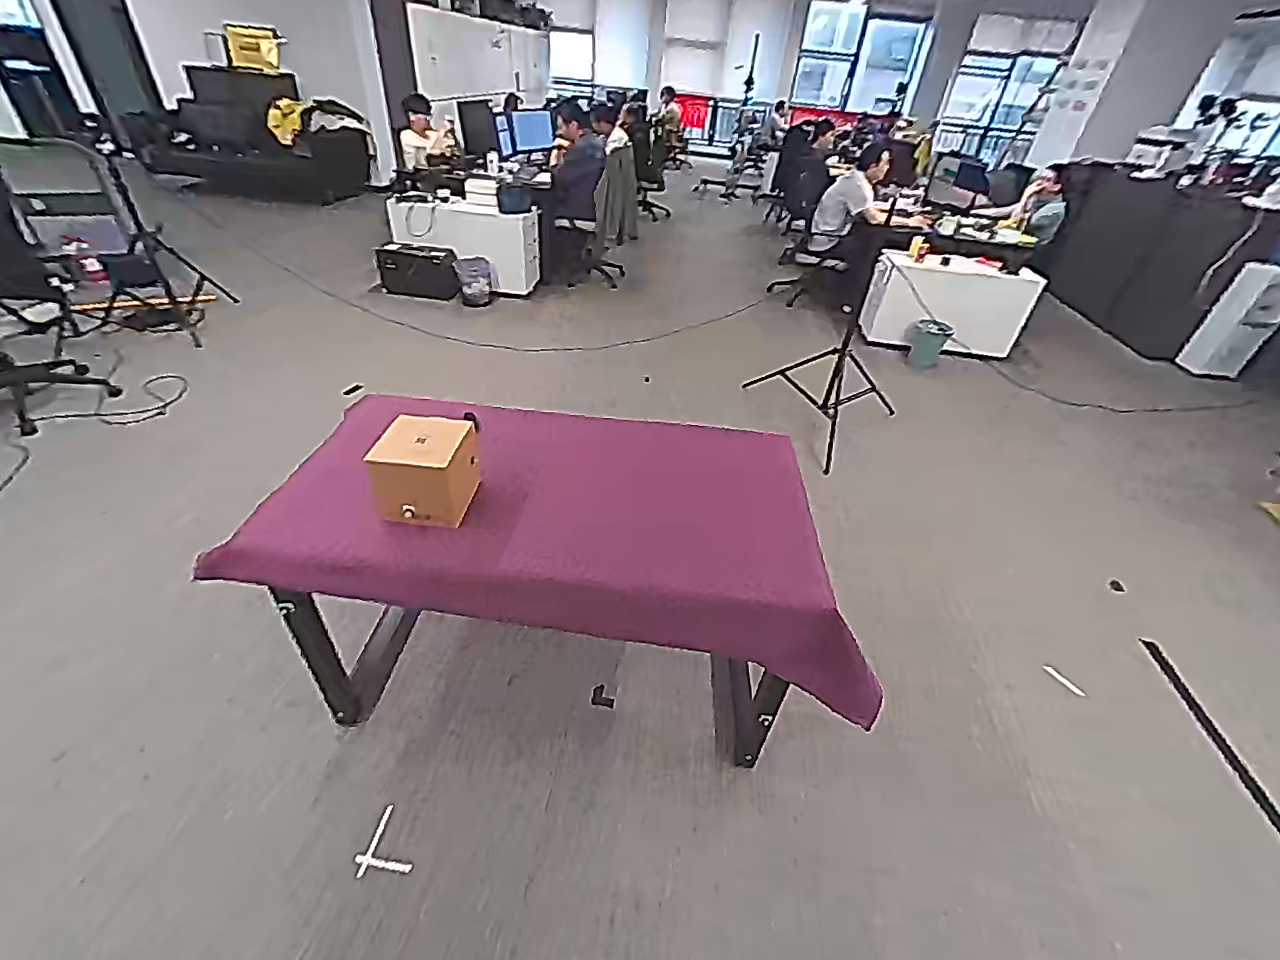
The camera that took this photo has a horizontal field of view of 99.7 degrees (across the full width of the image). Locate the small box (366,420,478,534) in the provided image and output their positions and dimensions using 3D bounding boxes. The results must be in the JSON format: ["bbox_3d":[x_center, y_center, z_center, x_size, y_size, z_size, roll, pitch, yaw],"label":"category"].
[{"bbox_3d":[-0.457,-0.008,1.169,0.168,0.176,0.179,4,38,0],"label":"small box"}]
